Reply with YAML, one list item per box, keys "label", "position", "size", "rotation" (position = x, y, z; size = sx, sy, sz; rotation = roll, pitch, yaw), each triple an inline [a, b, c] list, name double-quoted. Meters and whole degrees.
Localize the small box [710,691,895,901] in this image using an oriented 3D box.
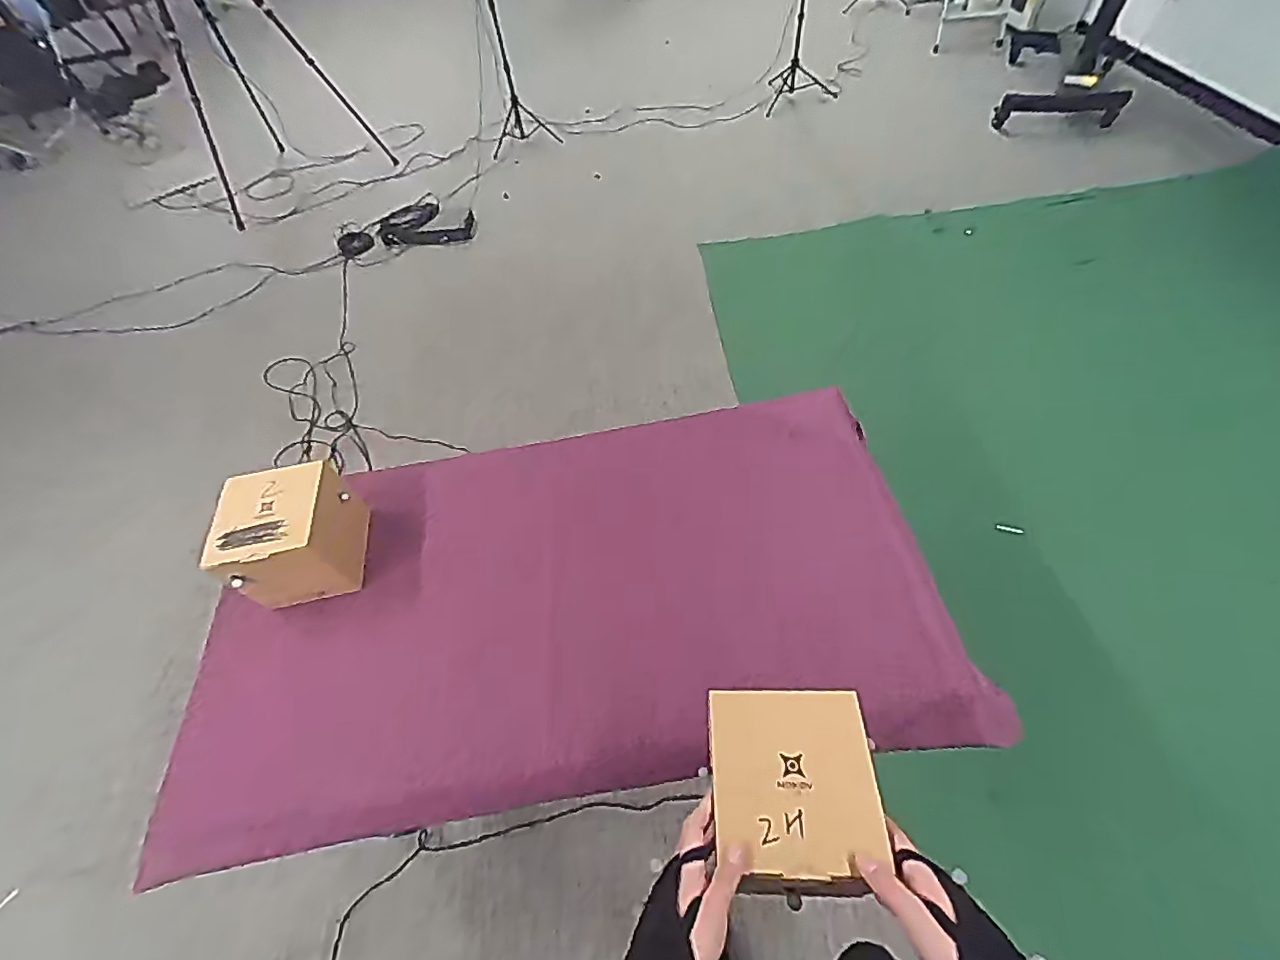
- label: "small box"
  position: [0.165, 0.359, 0.616]
  size: [0.168, 0.176, 0.179]
  rotation: [-2, 49, 7]
